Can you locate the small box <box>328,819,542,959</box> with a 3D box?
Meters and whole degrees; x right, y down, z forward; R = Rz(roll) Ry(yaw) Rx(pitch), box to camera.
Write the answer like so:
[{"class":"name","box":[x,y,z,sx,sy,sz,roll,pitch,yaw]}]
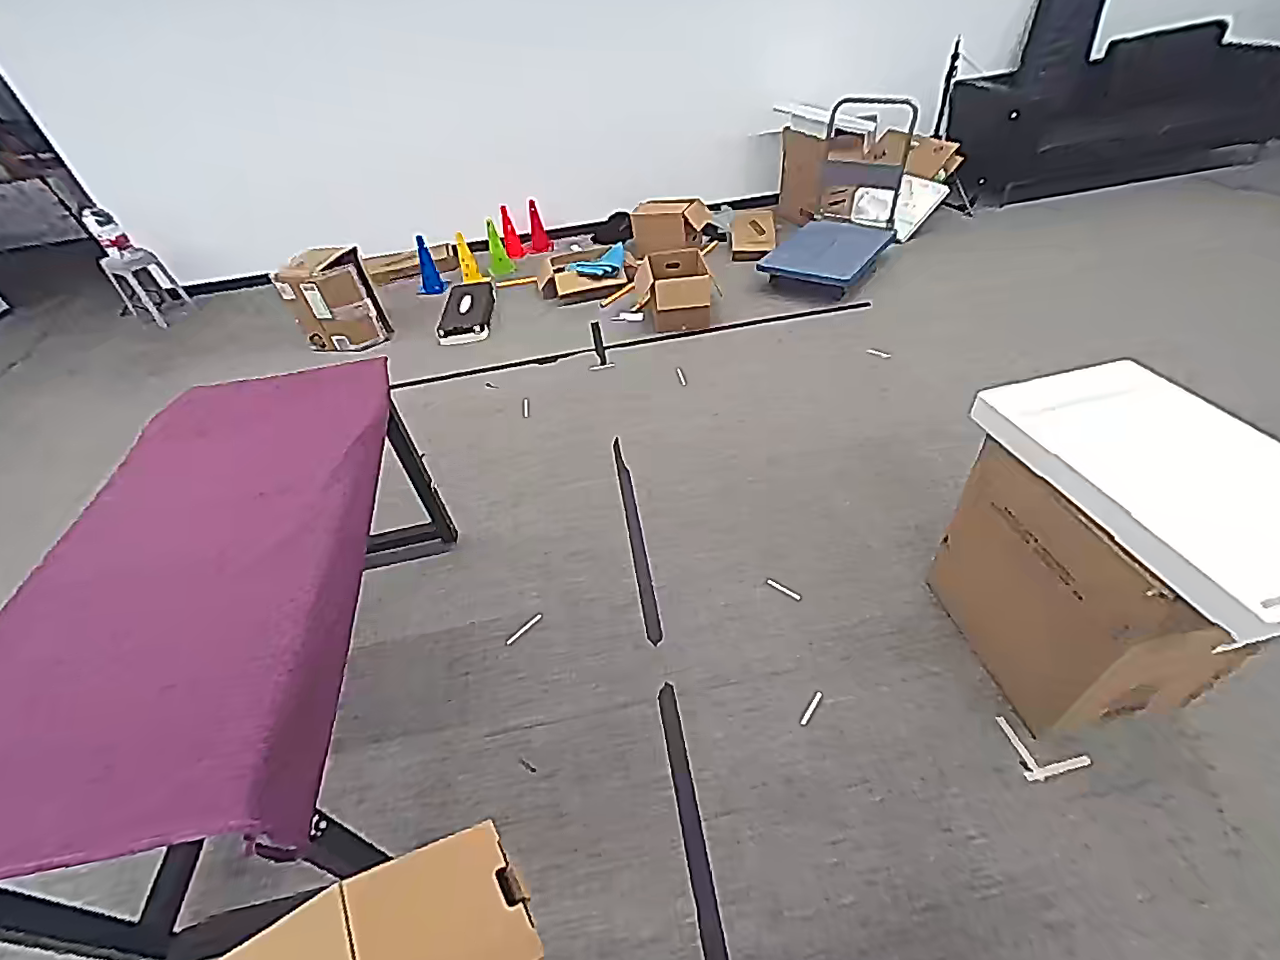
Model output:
[{"class":"small box","box":[-0.237,0.535,0.602,0.179,0.176,0.168,1,31,-40]}]
